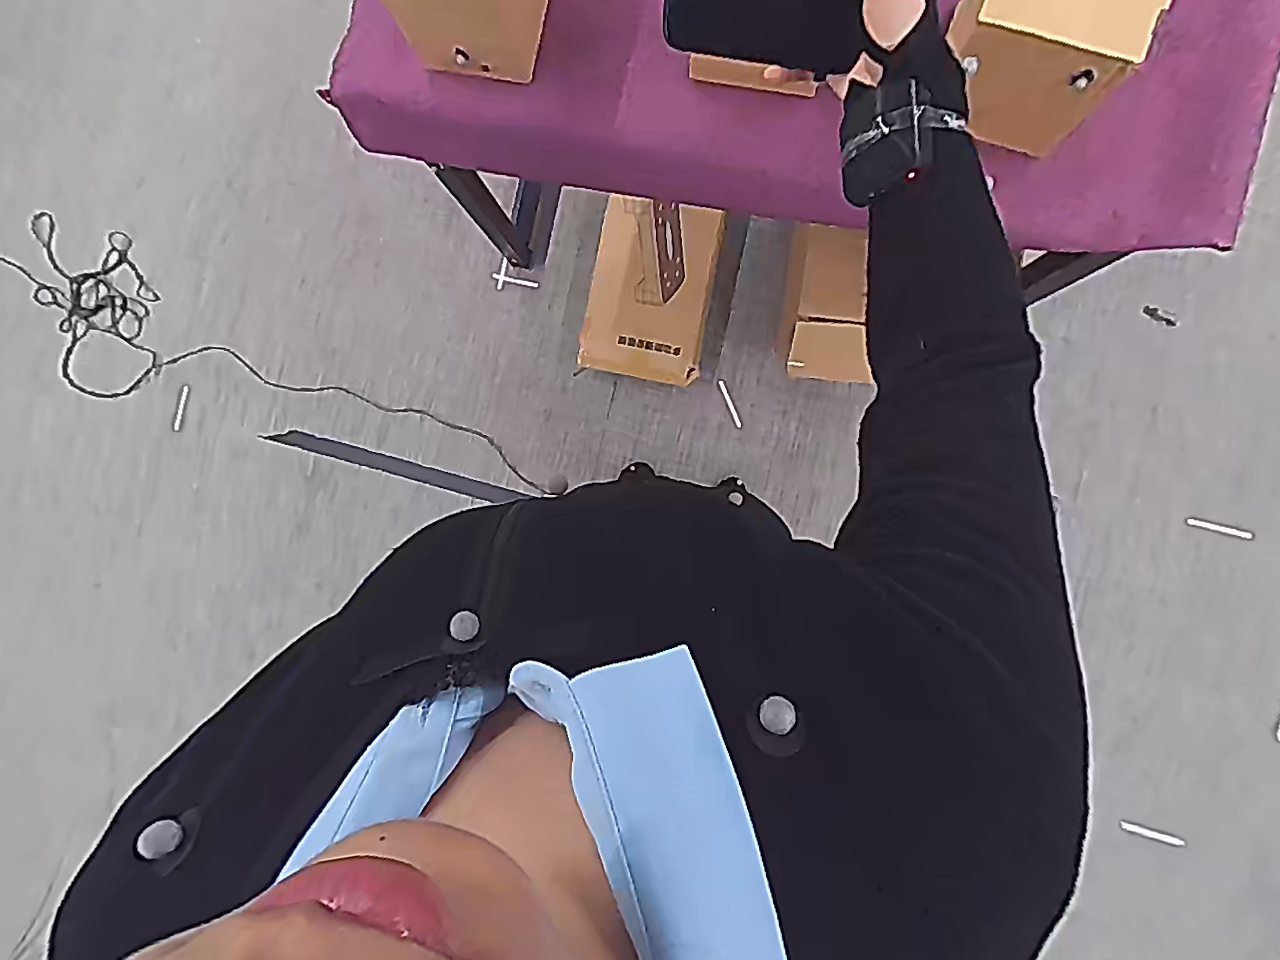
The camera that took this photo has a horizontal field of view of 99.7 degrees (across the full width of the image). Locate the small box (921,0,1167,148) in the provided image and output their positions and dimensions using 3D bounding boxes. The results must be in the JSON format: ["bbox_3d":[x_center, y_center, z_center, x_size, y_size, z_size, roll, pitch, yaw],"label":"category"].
[{"bbox_3d":[0.469,-0.533,0.638,0.179,0.176,0.168,19,92,5],"label":"small box"}]

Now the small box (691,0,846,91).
[{"bbox_3d":[0.164,-0.623,0.664,0.179,0.176,0.168,12,89,5],"label":"small box"}]
